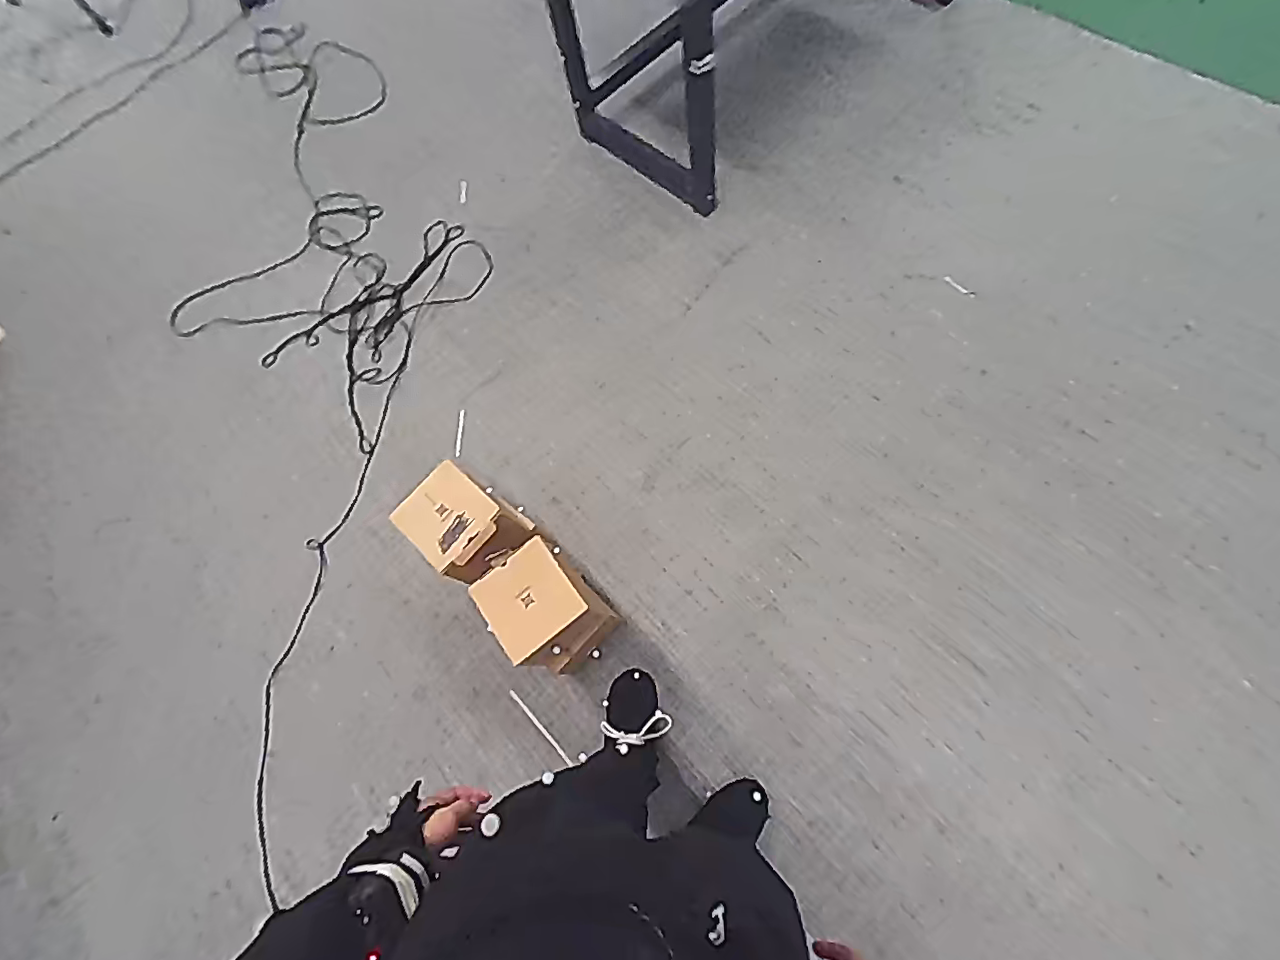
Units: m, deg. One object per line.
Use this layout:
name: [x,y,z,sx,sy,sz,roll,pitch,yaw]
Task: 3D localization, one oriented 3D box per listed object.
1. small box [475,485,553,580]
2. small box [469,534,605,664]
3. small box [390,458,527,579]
small box: [-0.332,0.147,1.277,0.168,0.176,0.179,34,79,18]
small box: [-0.191,0.235,1.053,0.168,0.176,0.179,-38,69,-5]
small box: [-0.367,0.090,1.126,0.179,0.176,0.168,39,80,20]
